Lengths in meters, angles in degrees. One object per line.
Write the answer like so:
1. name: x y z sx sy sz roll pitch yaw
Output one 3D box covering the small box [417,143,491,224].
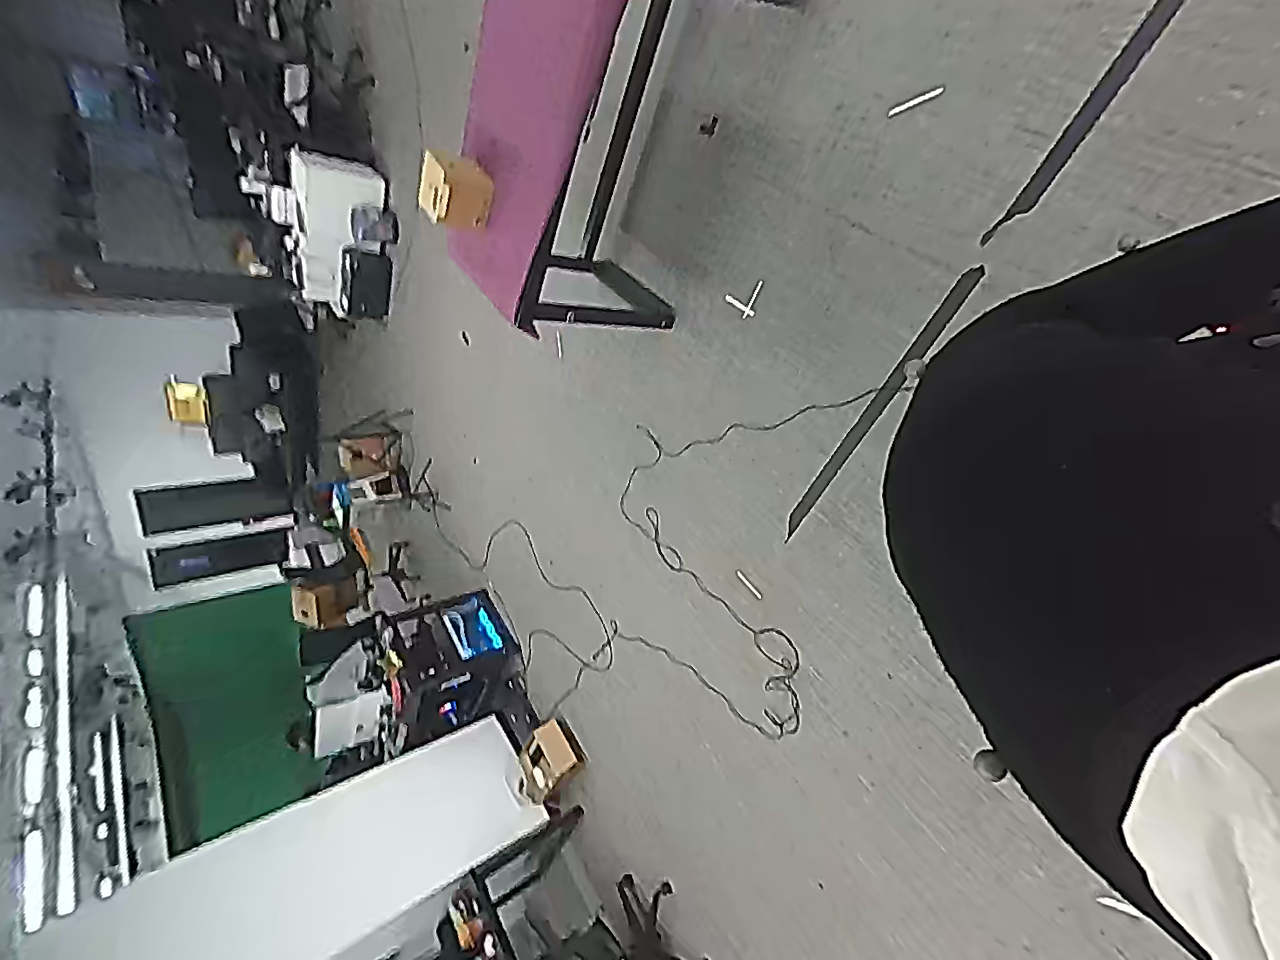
1. small box: -0.610 -0.967 1.777 0.179 0.176 0.168 53 132 26
